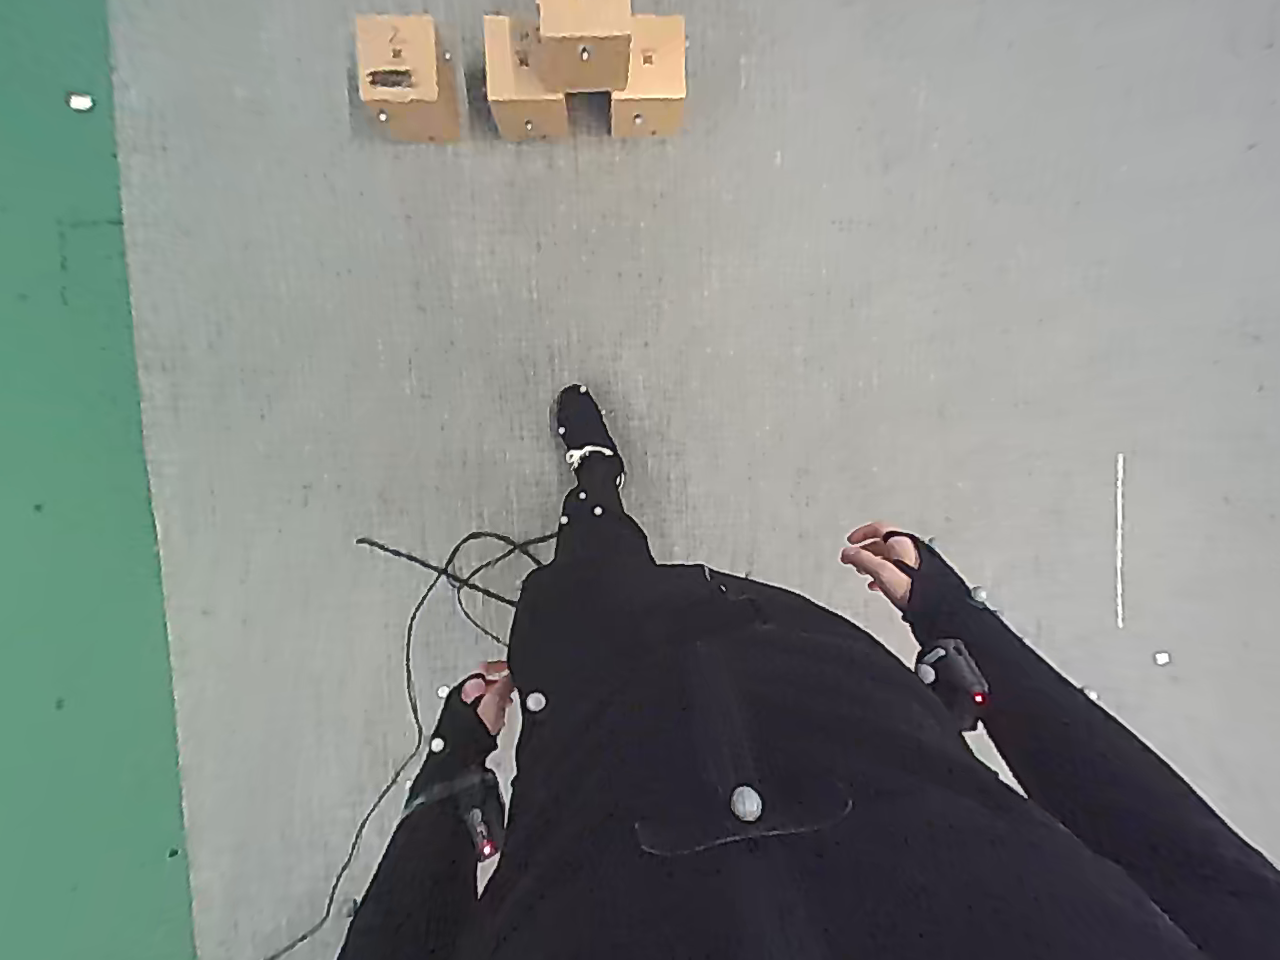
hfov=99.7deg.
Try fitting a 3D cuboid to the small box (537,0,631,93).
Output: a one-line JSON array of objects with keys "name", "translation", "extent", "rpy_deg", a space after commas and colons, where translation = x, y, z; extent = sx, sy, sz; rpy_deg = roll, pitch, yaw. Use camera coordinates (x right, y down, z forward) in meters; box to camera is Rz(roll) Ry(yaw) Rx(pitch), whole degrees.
[{"name": "small box", "translation": [-0.112, -0.918, 1.095], "extent": [0.179, 0.176, 0.168], "rpy_deg": [-4, 94, -5]}]

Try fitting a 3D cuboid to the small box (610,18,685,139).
[{"name": "small box", "translation": [0.014, -0.928, 1.265], "extent": [0.168, 0.176, 0.179], "rpy_deg": [-2, 93, -3]}]
